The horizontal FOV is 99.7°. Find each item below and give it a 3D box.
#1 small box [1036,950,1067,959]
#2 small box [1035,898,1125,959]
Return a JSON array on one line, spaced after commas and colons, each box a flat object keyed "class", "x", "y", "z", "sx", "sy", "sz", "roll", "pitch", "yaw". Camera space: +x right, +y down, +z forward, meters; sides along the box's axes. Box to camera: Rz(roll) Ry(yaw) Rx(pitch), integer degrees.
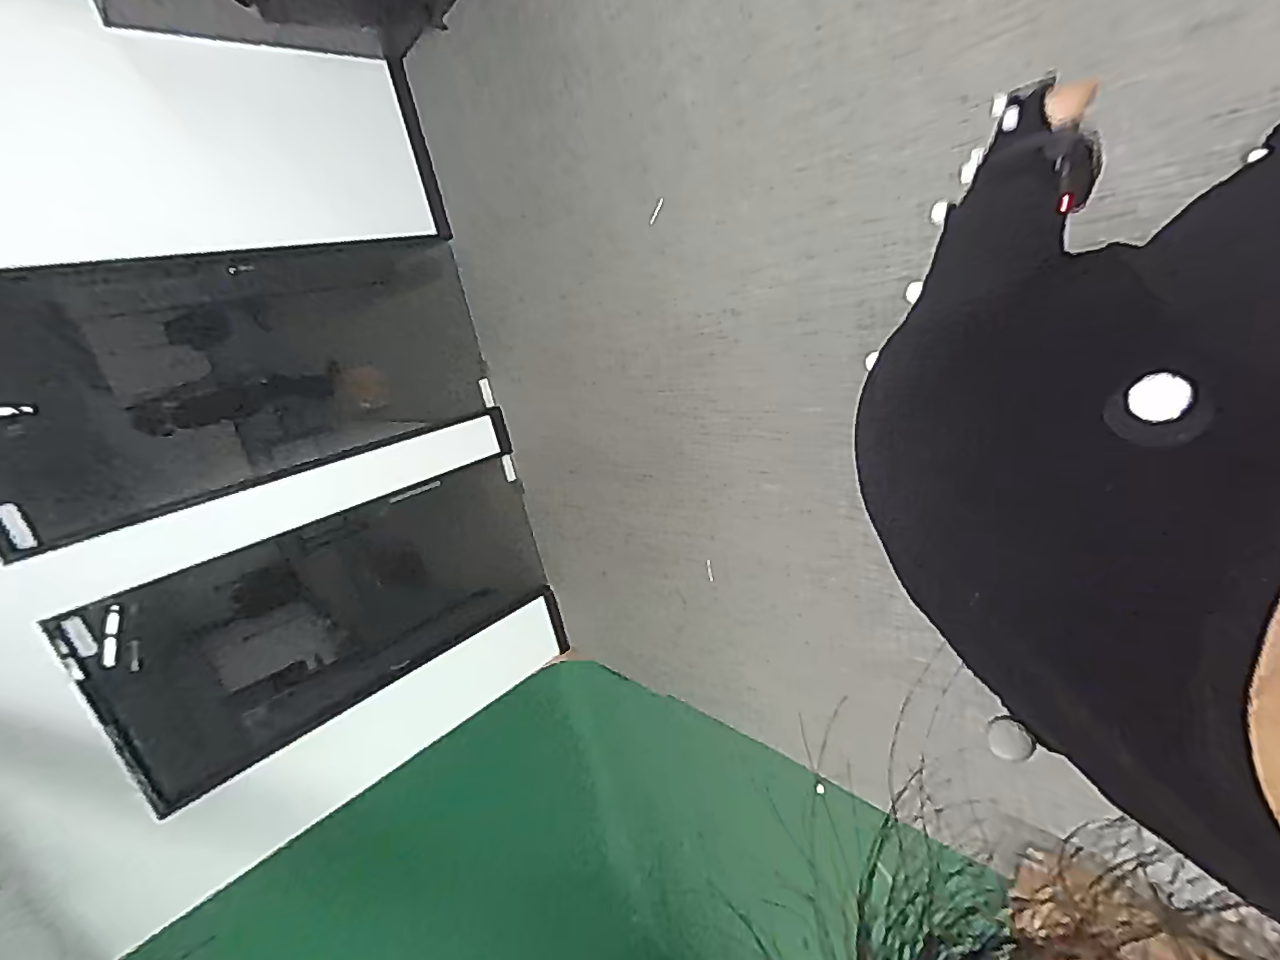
[{"class": "small box", "x": 1.137, "y": 1.417, "z": 1.441, "sx": 0.179, "sy": 0.176, "sz": 0.168, "roll": 19, "pitch": 123, "yaw": 41}, {"class": "small box", "x": 1.254, "y": 1.367, "z": 1.546, "sx": 0.168, "sy": 0.176, "sz": 0.179, "roll": 18, "pitch": 121, "yaw": 41}]
